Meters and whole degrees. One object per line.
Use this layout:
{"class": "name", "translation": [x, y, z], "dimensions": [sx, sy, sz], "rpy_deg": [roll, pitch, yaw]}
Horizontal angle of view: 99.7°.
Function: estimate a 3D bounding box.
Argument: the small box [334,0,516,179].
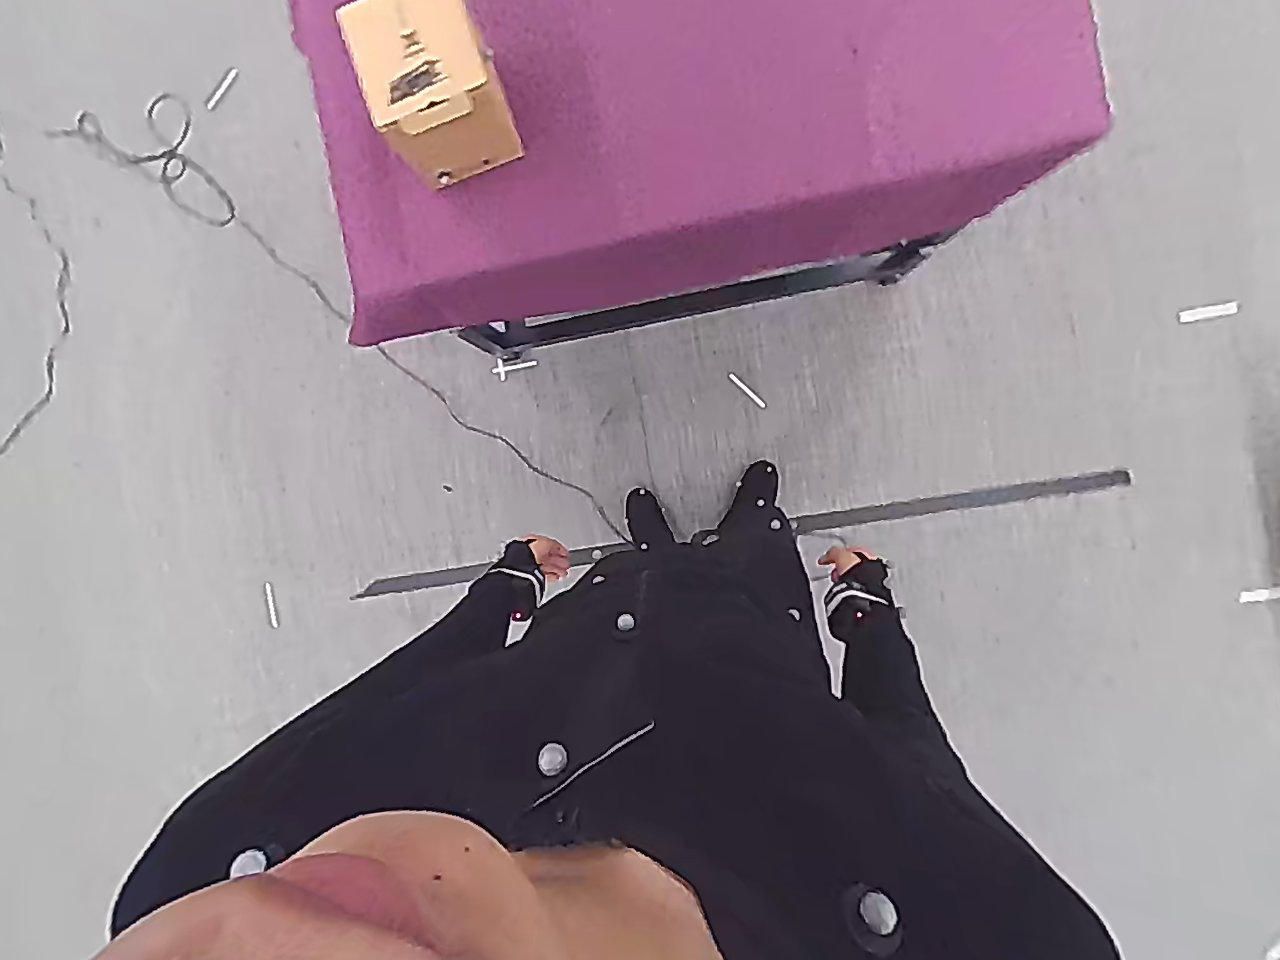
{"class": "small box", "translation": [-0.304, -0.582, 0.803], "dimensions": [0.168, 0.176, 0.179], "rpy_deg": [-19, 90, 4]}
